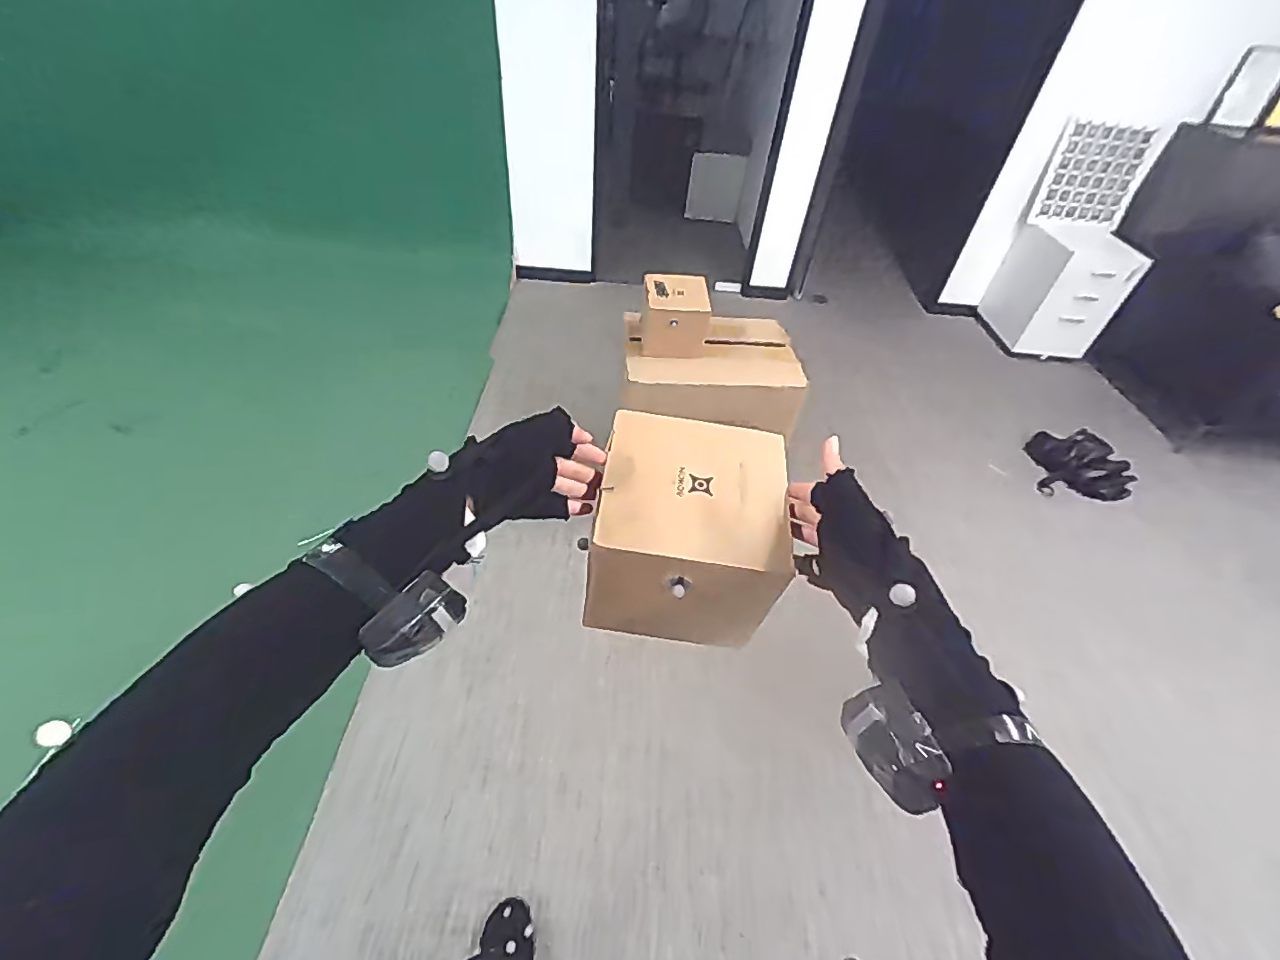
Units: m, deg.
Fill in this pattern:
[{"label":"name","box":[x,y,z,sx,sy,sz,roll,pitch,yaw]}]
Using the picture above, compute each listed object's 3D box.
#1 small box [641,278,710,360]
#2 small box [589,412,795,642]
[{"label":"small box","box":[0.097,-0.469,1.585,0.179,0.176,0.168,1,53,-7]},{"label":"small box","box":[0.044,0.055,0.568,0.179,0.176,0.168,9,51,-3]}]
